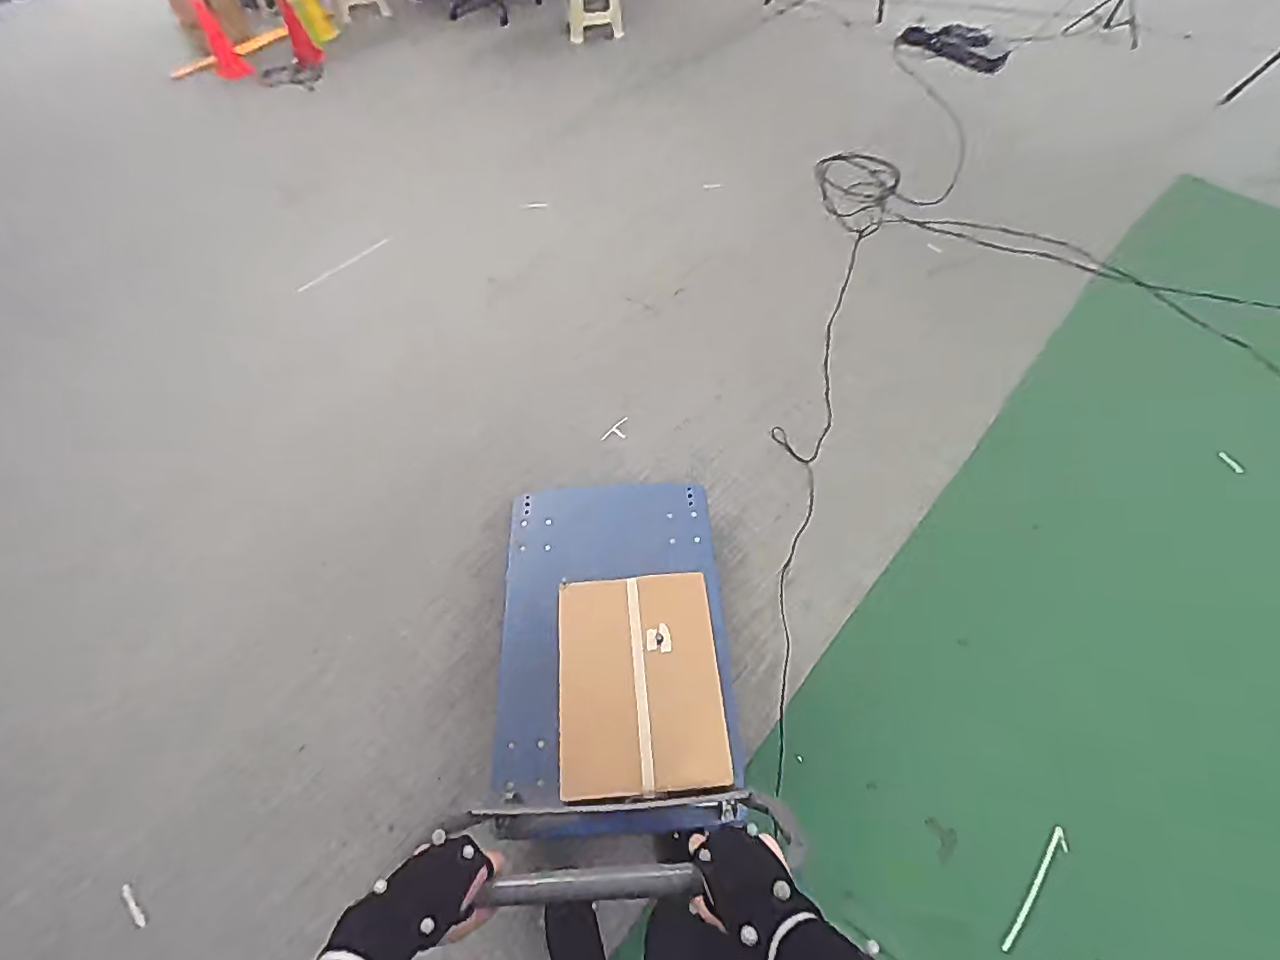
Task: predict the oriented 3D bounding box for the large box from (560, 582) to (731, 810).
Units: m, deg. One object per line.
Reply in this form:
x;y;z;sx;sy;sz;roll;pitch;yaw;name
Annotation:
-0.001;0.483;1.201;0.320;0.320;0.408;-4;58;-3;large box
